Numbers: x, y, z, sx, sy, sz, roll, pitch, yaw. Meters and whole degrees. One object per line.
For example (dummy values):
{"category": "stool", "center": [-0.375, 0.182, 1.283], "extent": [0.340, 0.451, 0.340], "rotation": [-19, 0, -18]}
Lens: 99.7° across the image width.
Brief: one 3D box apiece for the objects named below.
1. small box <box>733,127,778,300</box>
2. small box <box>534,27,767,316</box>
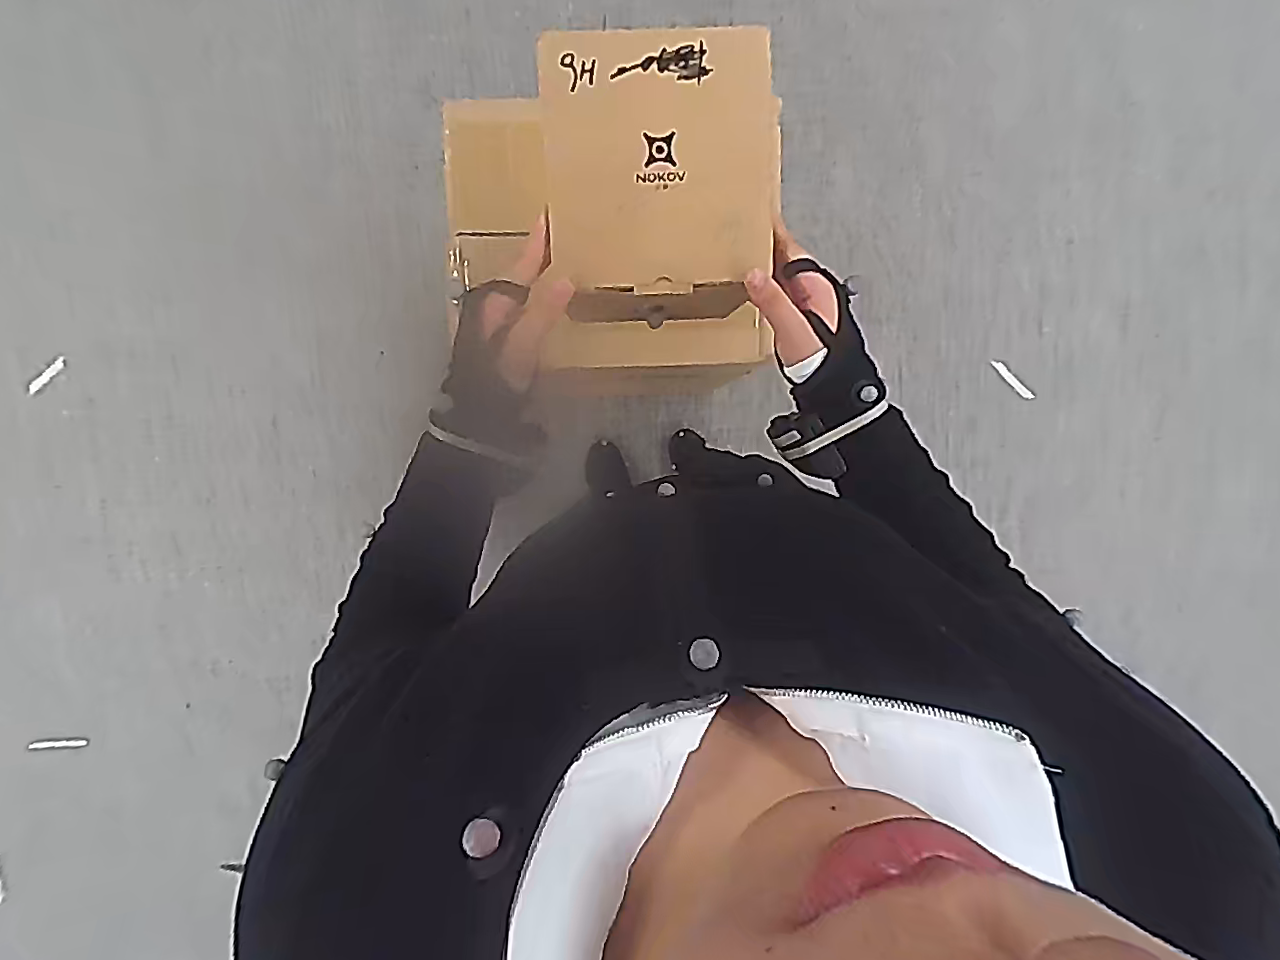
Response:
{"category": "small box", "center": [0.092, -0.363, 0.764], "extent": [0.168, 0.176, 0.179], "rotation": [-2, 96, 0]}
{"category": "small box", "center": [0.009, -0.242, 0.471], "extent": [0.168, 0.176, 0.179], "rotation": [-4, 99, -2]}
